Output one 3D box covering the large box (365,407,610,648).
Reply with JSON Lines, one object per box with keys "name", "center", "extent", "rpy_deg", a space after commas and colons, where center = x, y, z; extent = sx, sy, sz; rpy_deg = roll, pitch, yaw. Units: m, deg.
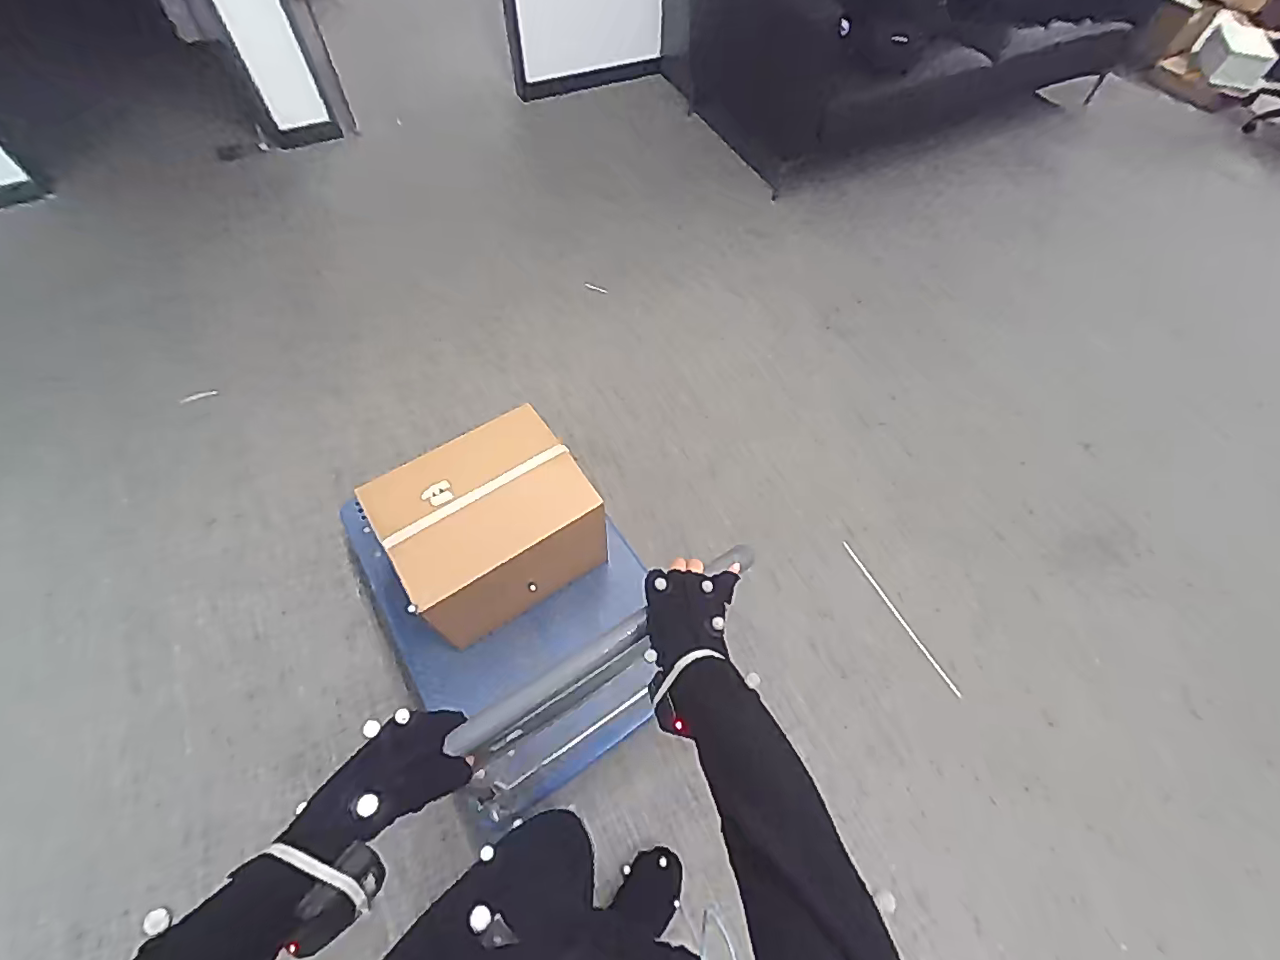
{"name": "large box", "center": [-0.316, 0.112, 1.230], "extent": [0.408, 0.320, 0.320], "rpy_deg": [-32, 65, -18]}
